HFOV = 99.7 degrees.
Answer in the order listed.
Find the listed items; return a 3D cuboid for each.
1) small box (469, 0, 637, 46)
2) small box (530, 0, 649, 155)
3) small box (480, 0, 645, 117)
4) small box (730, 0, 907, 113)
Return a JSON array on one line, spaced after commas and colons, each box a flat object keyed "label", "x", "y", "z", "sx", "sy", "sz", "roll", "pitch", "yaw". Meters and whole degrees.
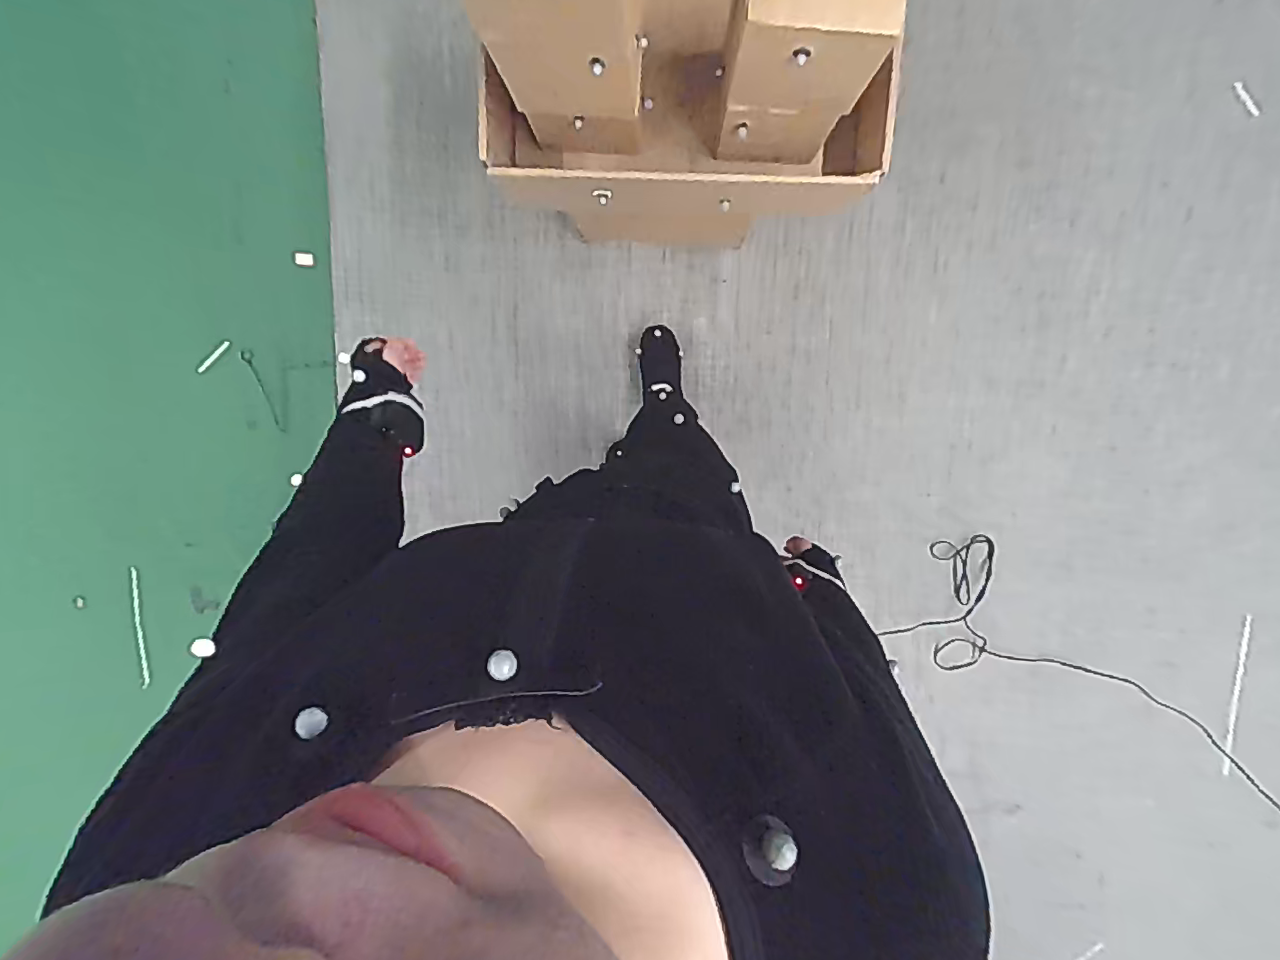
[{"label": "small box", "x": -0.091, "y": -0.563, "z": 0.522, "sx": 0.179, "sy": 0.176, "sz": 0.168, "roll": 6, "pitch": 99, "yaw": 1}, {"label": "small box", "x": -0.080, "y": -0.631, "z": 0.842, "sx": 0.179, "sy": 0.176, "sz": 0.168, "roll": 4, "pitch": 99, "yaw": 1}, {"label": "small box", "x": -0.088, "y": -0.592, "z": 0.684, "sx": 0.179, "sy": 0.176, "sz": 0.168, "roll": 5, "pitch": 99, "yaw": 0}, {"label": "small box", "x": 0.214, "y": -0.589, "z": 0.669, "sx": 0.179, "sy": 0.176, "sz": 0.168, "roll": 6, "pitch": 98, "yaw": 0}]
